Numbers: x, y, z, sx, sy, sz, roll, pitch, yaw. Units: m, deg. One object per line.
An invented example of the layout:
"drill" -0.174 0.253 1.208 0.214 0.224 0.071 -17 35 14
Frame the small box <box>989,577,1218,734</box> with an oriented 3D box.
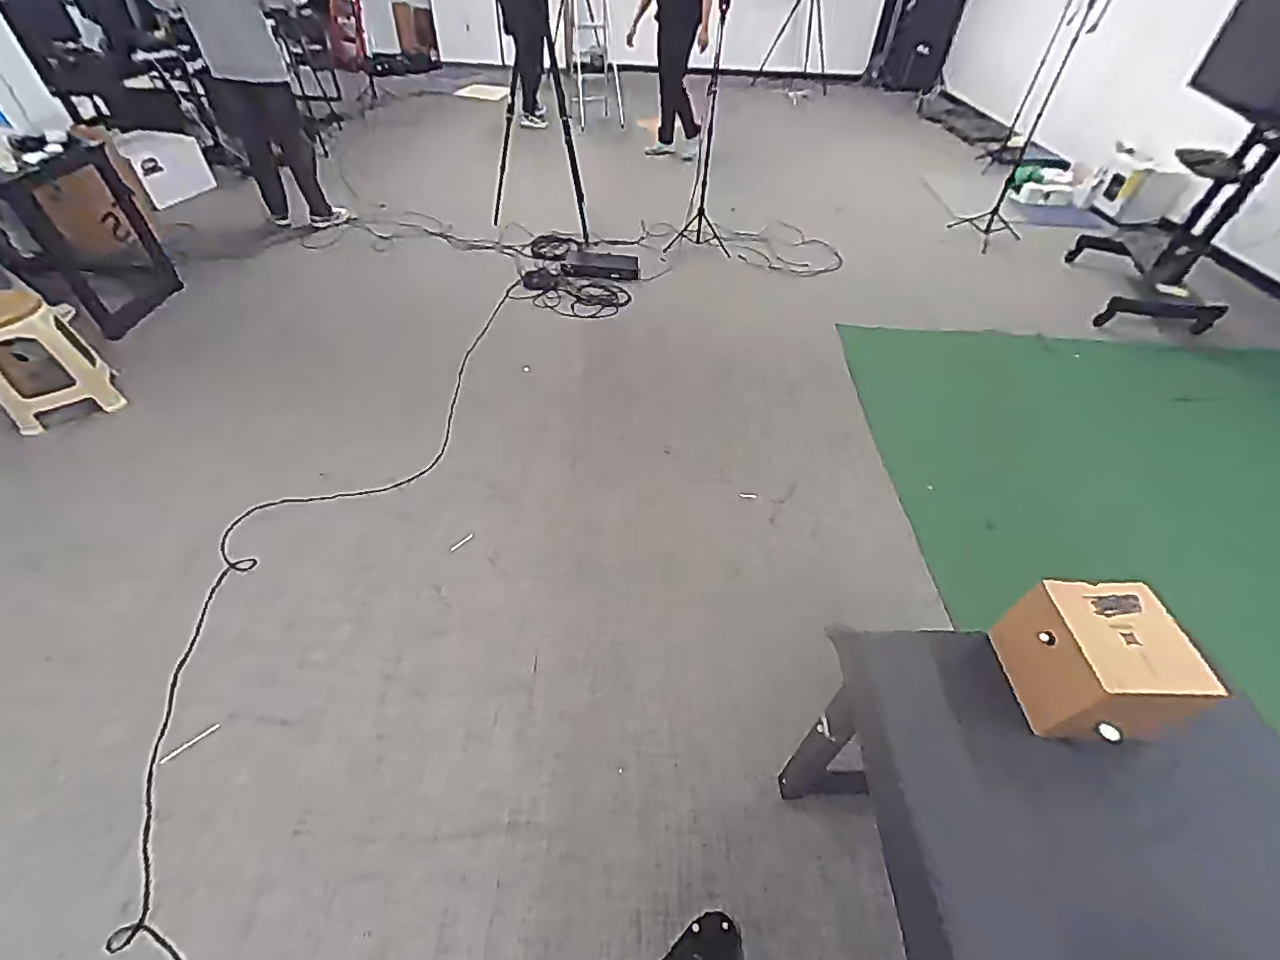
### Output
"small box" 0.684 0.270 0.830 0.168 0.176 0.179 2 48 -2
